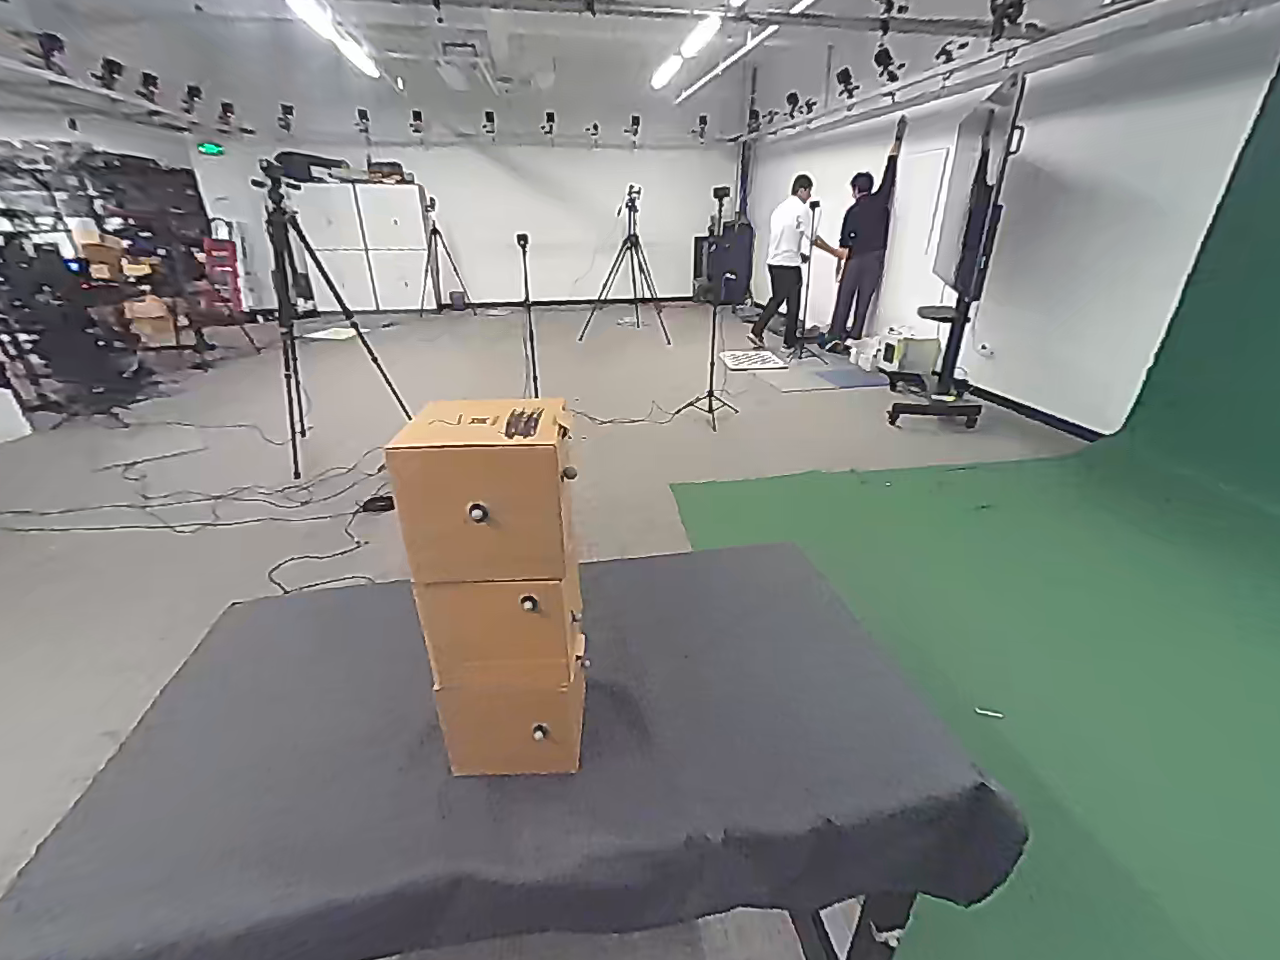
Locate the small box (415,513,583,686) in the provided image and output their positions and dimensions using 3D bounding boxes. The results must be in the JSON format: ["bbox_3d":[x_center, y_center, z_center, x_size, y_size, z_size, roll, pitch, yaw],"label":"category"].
[{"bbox_3d":[-0.174,0.156,0.725,0.179,0.176,0.168,0,25,-1],"label":"small box"}]

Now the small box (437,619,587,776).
[{"bbox_3d":[-0.172,0.305,0.791,0.179,0.176,0.168,-2,25,-1],"label":"small box"}]
